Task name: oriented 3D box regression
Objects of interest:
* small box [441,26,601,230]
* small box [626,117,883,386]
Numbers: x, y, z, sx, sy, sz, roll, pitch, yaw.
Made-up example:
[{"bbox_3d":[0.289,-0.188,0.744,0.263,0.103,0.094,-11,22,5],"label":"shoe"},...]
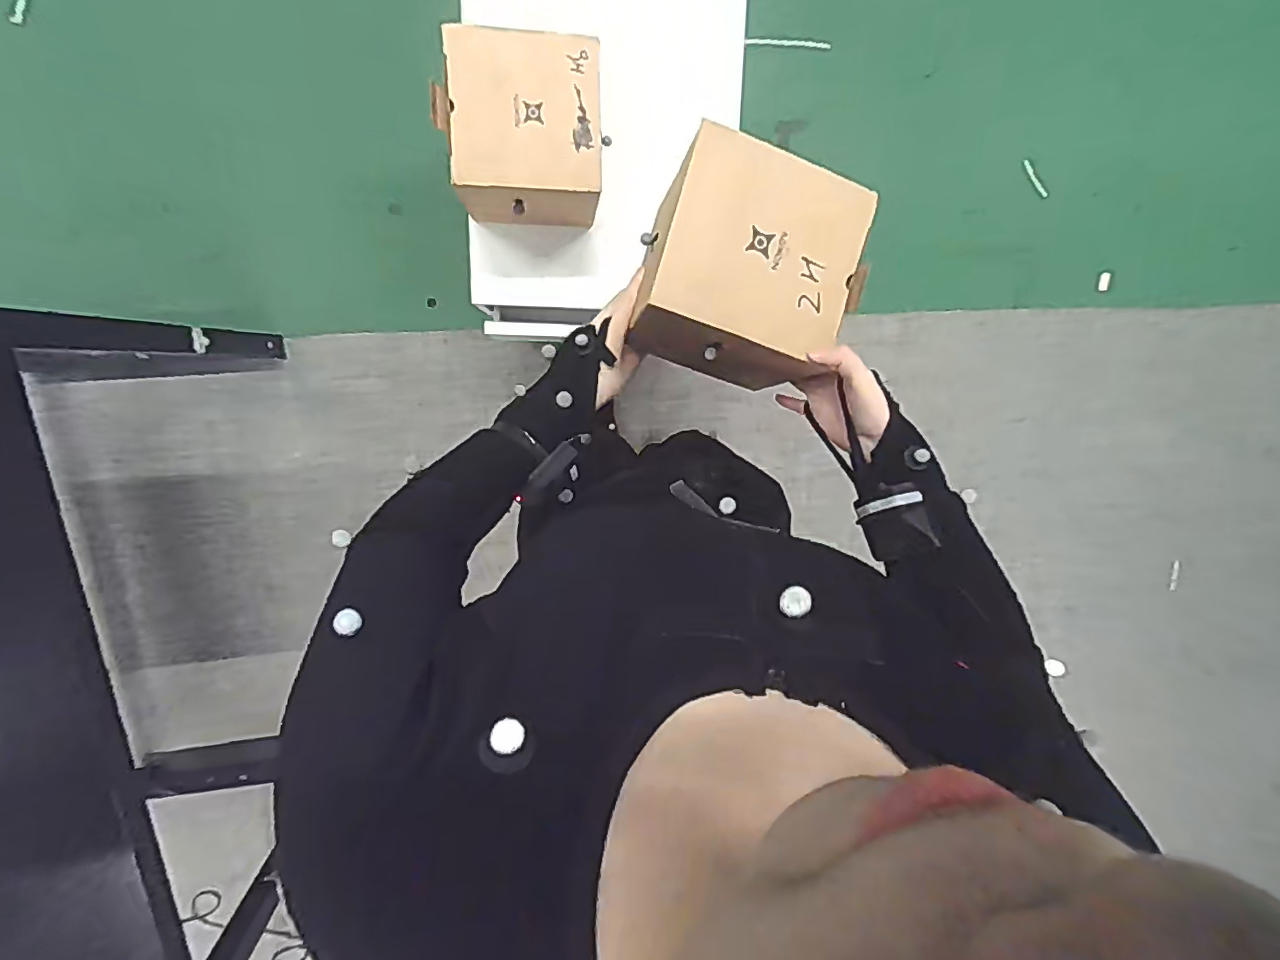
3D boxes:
[{"bbox_3d":[-0.141,-0.428,0.687,0.179,0.176,0.168,-1,101,-8],"label":"small box"},{"bbox_3d":[0.096,-0.201,0.537,0.179,0.176,0.168,17,90,-11],"label":"small box"}]
